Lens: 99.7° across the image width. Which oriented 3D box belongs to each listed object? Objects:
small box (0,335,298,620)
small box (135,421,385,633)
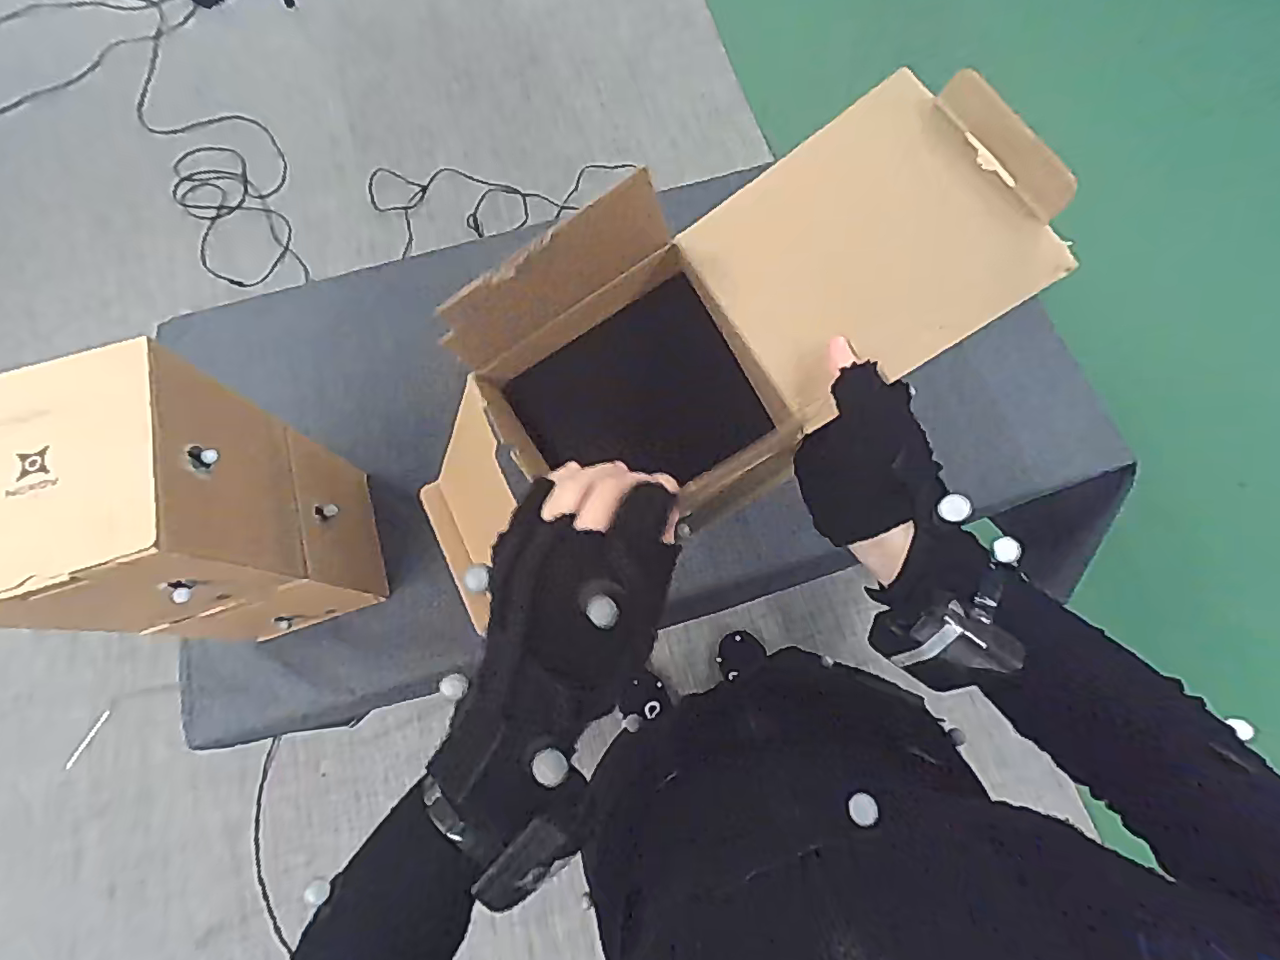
[{"bbox_3d":[-0.421,0.013,0.457,0.168,0.176,0.179,-16,73,-4],"label":"small box"},{"bbox_3d":[-0.416,0.063,0.612,0.168,0.176,0.179,-18,73,-4],"label":"small box"}]
